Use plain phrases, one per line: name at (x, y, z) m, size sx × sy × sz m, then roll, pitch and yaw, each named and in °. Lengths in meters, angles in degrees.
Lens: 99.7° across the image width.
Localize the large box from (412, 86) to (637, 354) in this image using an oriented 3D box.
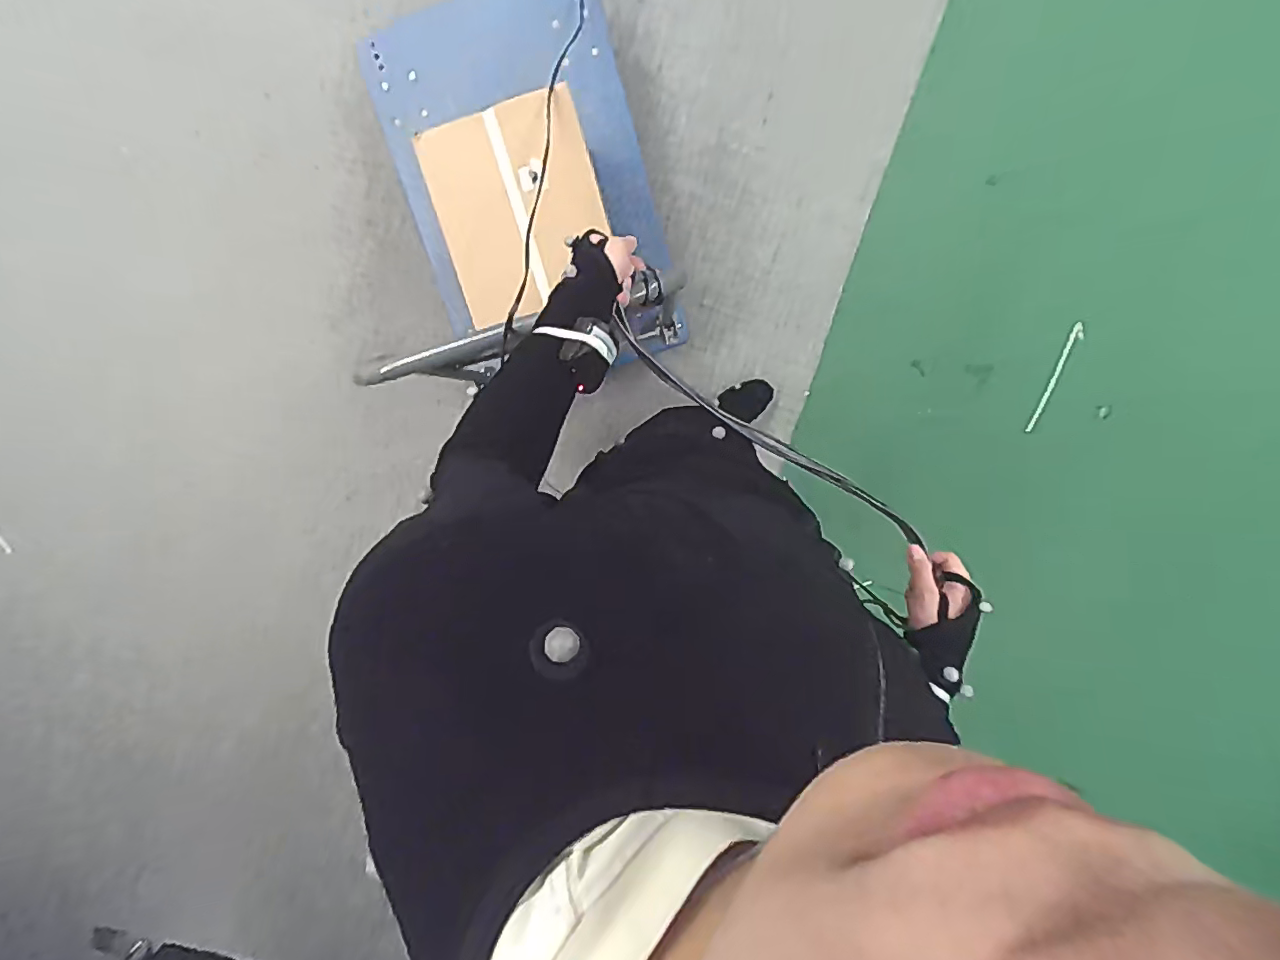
large box at (-0.215, -0.515, 1.170) m, size 0.320 × 0.320 × 0.408 m, roll -16°, pitch 100°, yaw 4°
